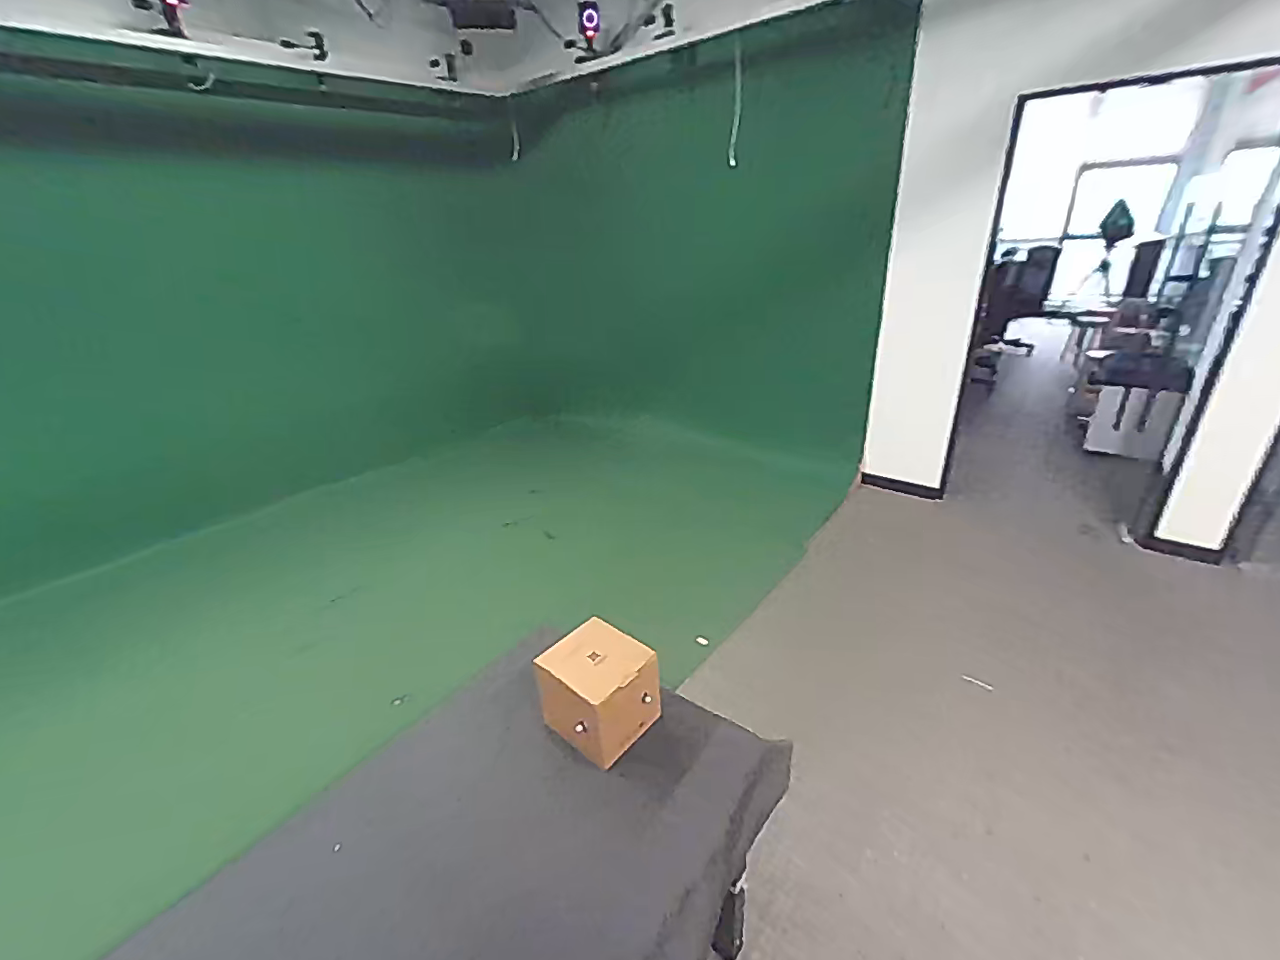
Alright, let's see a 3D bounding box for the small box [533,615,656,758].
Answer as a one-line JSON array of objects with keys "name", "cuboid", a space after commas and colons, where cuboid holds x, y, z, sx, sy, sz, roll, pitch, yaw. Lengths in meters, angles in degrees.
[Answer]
[{"name": "small box", "cuboid": [-0.081, 0.403, 1.057, 0.179, 0.176, 0.168, 17, 31, 38]}]
